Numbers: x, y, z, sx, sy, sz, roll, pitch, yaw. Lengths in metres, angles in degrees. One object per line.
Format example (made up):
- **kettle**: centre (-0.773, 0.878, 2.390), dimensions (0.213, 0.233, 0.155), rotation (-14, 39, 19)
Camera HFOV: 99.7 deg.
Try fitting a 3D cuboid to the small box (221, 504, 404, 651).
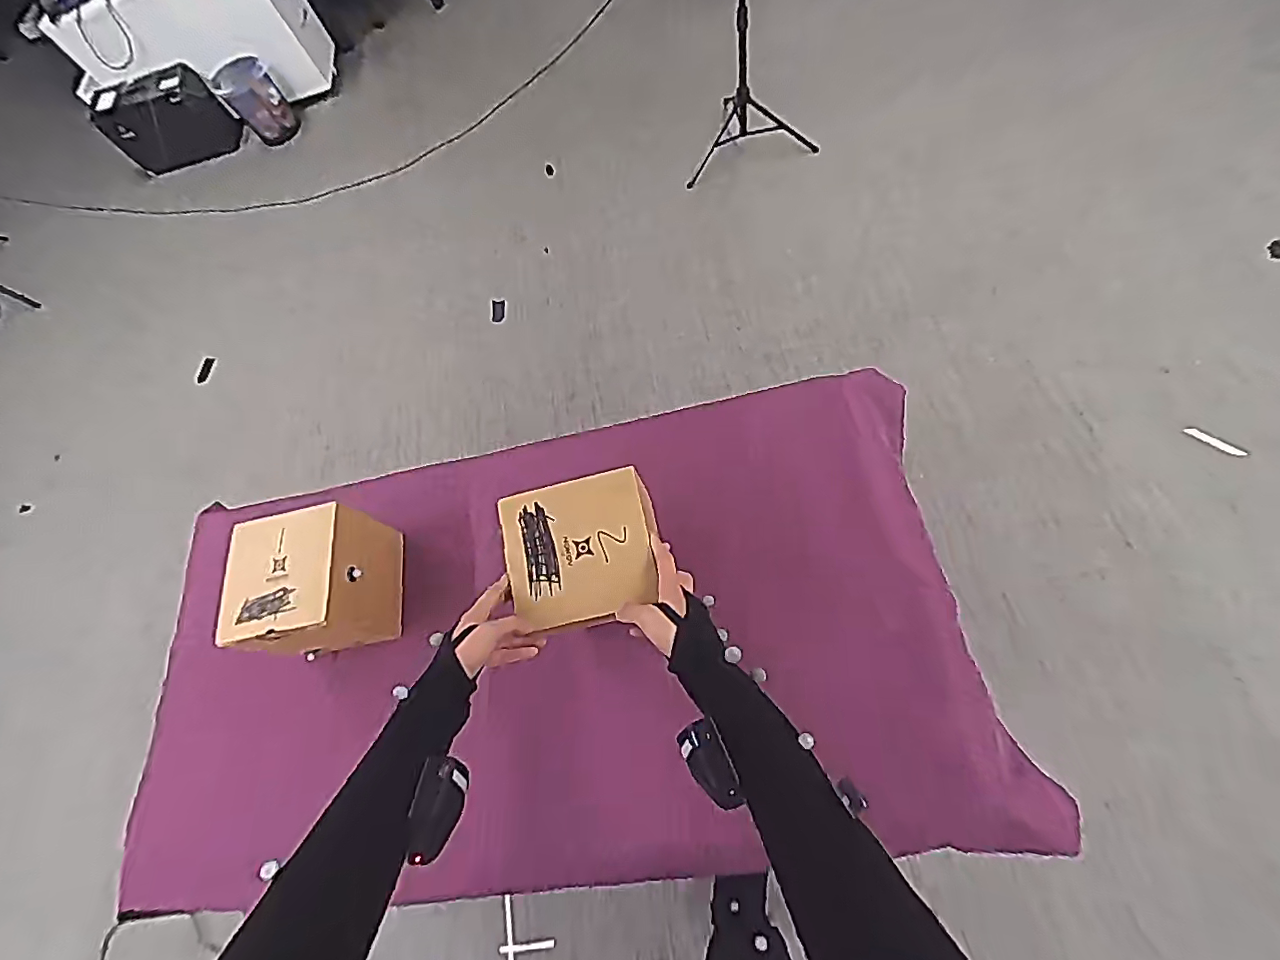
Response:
- **small box**: centre (-0.481, 0.158, 0.822), dimensions (0.168, 0.176, 0.179), rotation (-13, 66, 6)
